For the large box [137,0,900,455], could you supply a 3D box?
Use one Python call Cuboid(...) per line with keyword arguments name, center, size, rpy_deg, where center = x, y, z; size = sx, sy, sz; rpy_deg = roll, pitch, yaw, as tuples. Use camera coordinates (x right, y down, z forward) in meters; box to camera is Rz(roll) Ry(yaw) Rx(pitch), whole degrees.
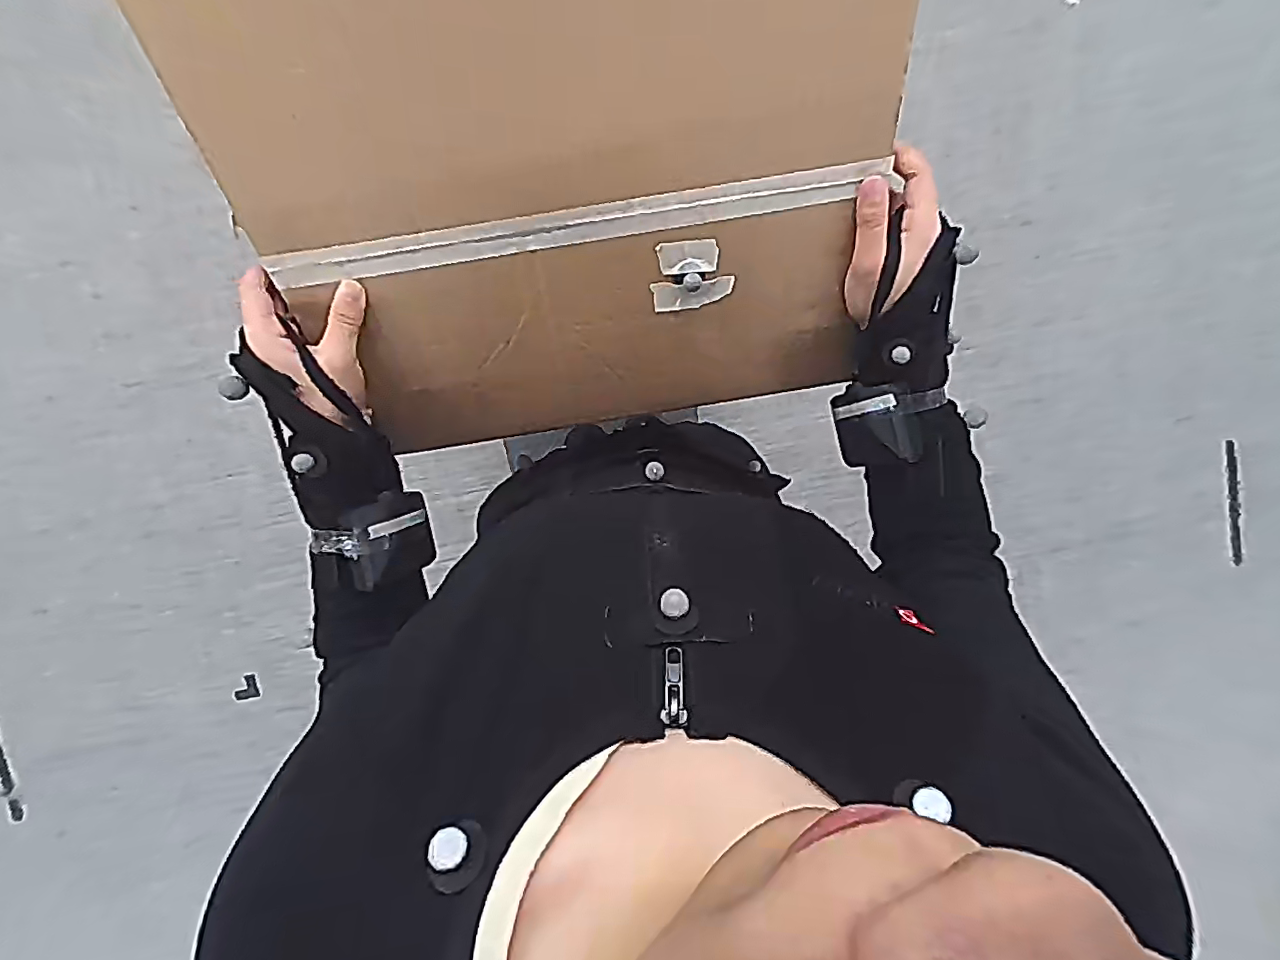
Cuboid(name="large box", center=(-0.059, -0.265, 0.473), size=(0.408, 0.320, 0.320), rpy_deg=(-11, 132, -2))
